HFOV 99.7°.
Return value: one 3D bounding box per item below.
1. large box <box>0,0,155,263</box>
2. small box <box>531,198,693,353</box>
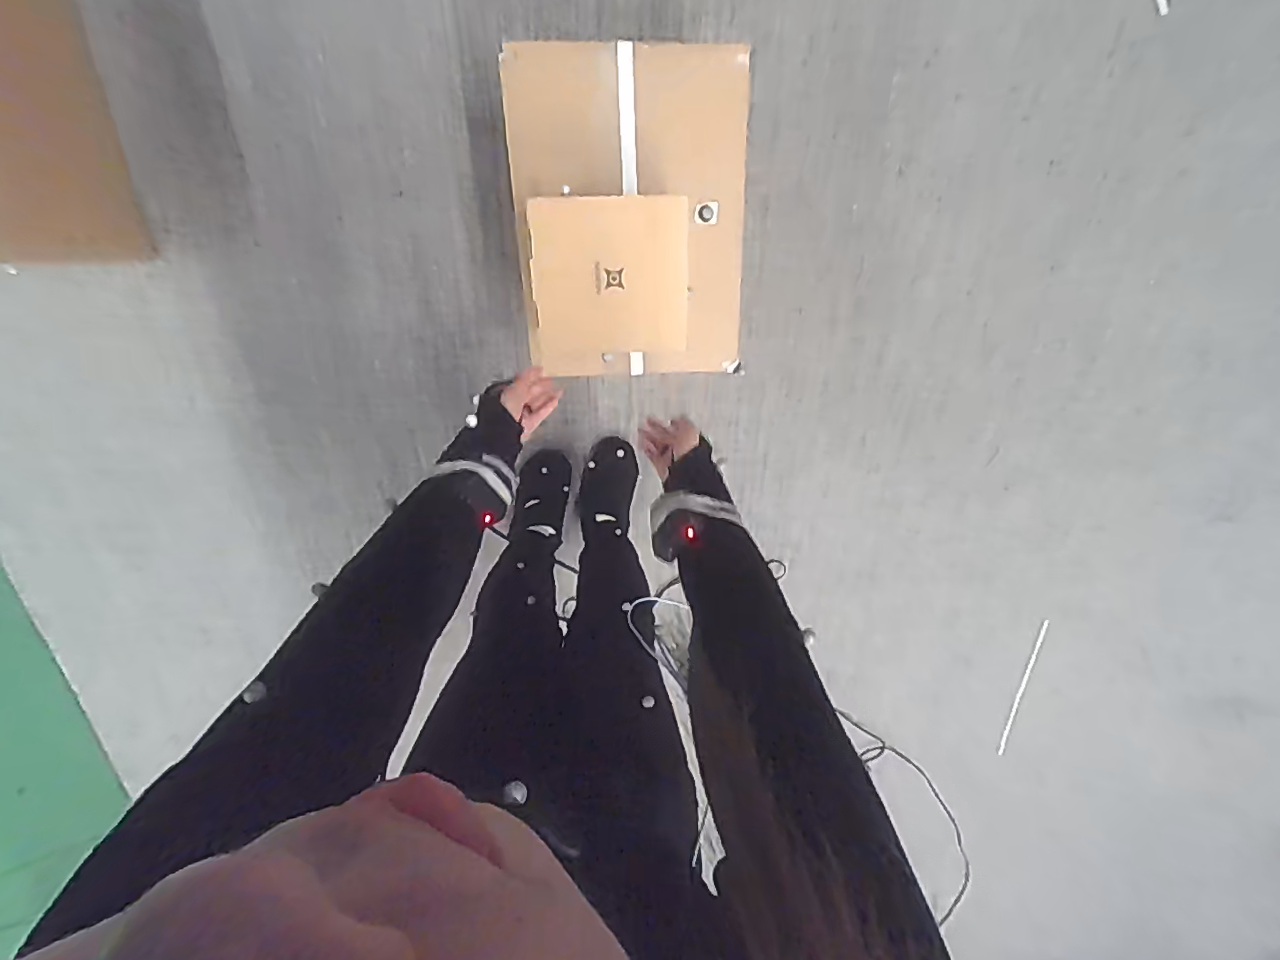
[{"bbox_3d":[-1.031,-0.530,0.773,0.320,0.320,0.408,-1,113,-2],"label":"large box"},{"bbox_3d":[-0.030,-0.257,0.676,0.179,0.176,0.168,-1,114,1],"label":"small box"}]
